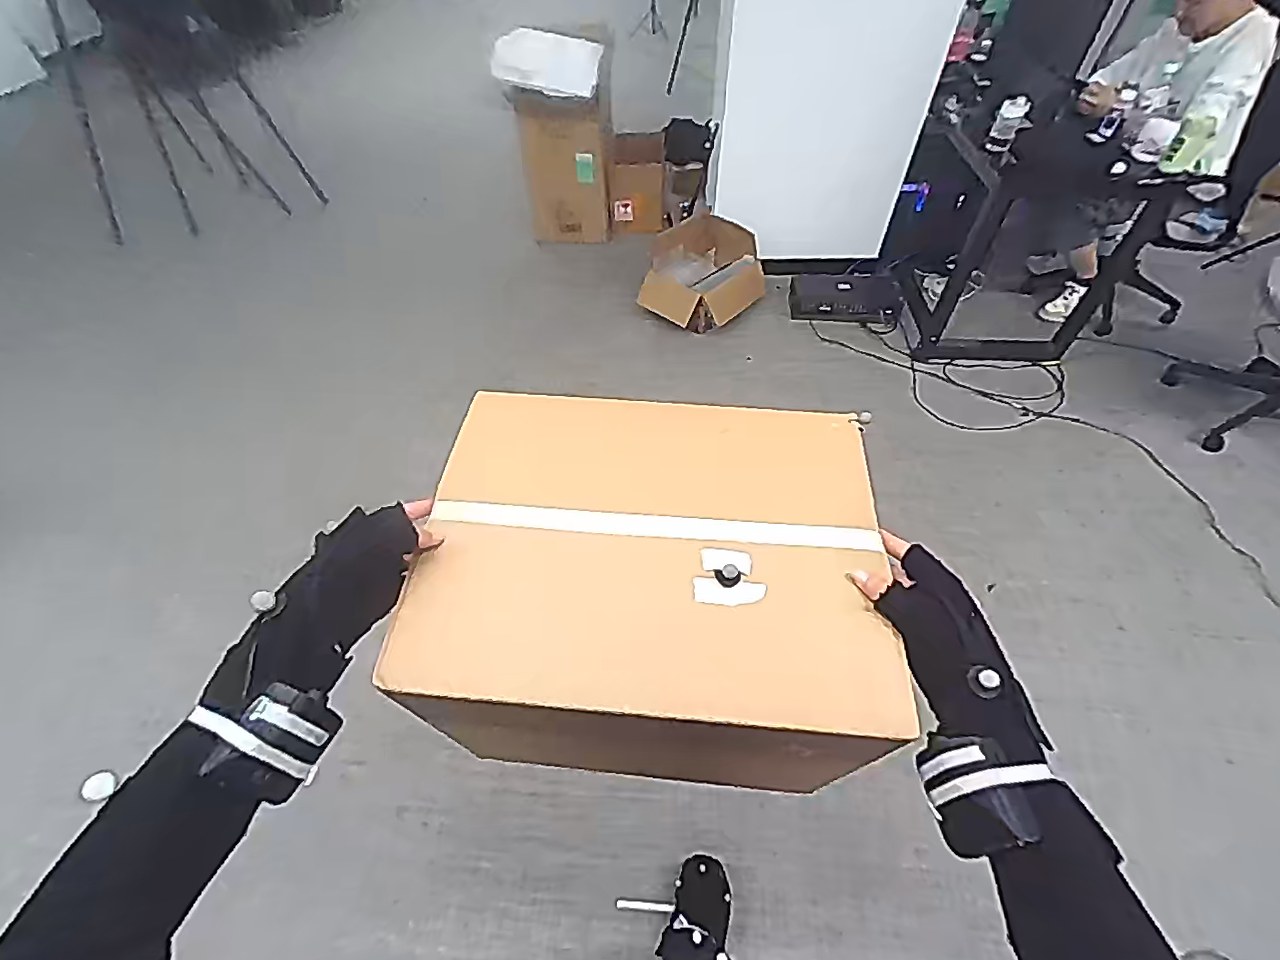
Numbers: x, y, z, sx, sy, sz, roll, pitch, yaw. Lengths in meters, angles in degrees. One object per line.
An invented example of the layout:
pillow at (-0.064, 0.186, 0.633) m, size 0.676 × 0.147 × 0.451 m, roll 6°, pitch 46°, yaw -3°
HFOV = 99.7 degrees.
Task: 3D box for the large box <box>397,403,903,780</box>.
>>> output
large box at (0.014, 0.136, 0.623) m, size 0.408 × 0.320 × 0.320 m, roll 5°, pitch 54°, yaw 3°
